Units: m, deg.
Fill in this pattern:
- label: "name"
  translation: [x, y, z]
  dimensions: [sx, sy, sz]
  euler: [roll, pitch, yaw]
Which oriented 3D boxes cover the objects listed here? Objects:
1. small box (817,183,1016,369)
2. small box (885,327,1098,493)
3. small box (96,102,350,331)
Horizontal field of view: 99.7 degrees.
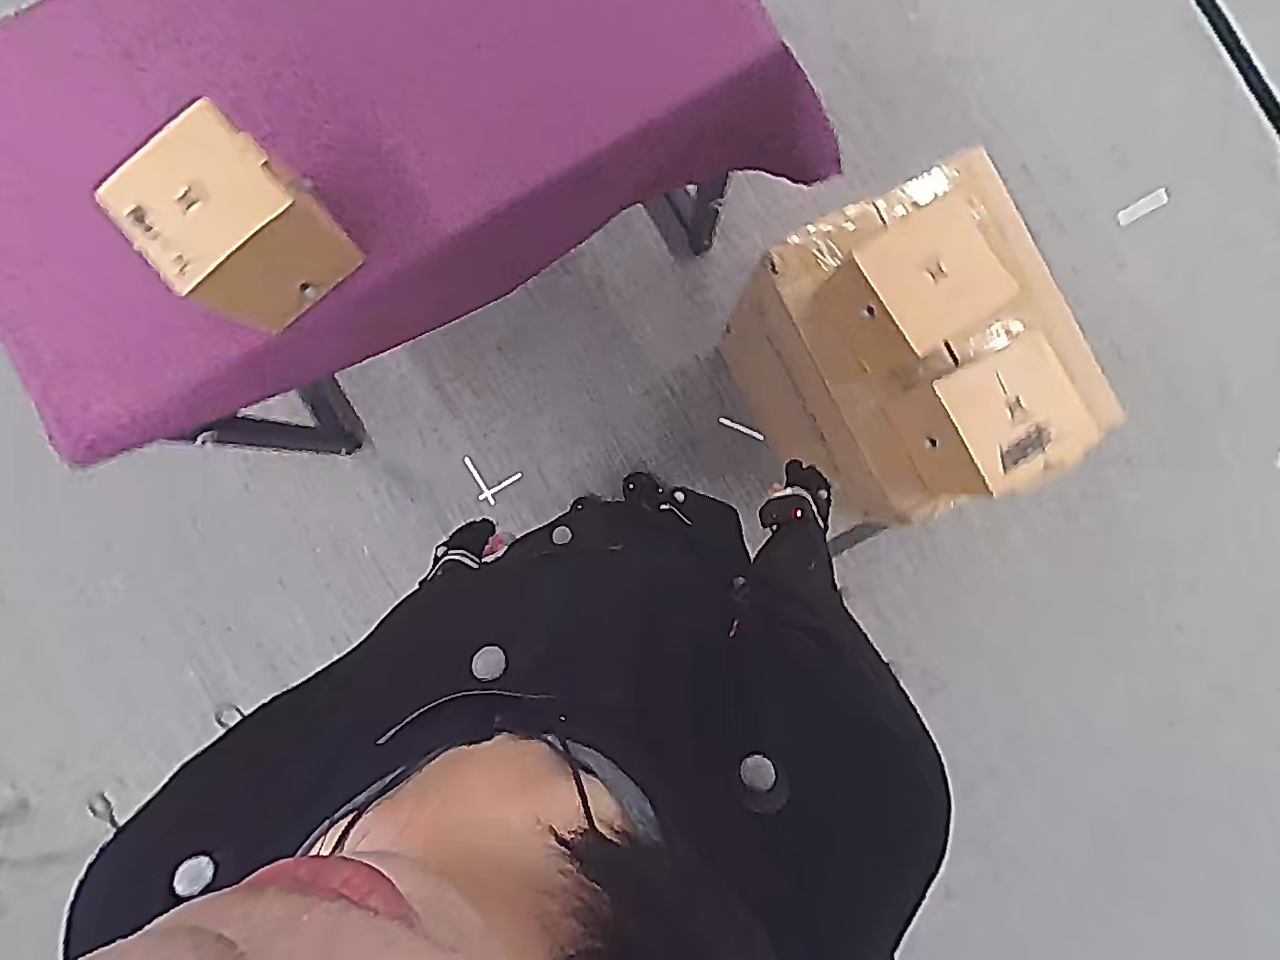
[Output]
- label: "small box"
  translation: [0.396, -0.290, 0.811]
  dimensions: [0.168, 0.176, 0.179]
  euler: [-34, 91, 2]
- label: "small box"
  translation: [0.506, -0.094, 0.807]
  dimensions: [0.168, 0.176, 0.179]
  euler: [-29, 87, 1]
- label: "small box"
  translation: [-0.522, -0.330, 0.714]
  dimensions: [0.179, 0.176, 0.168]
  euler: [-41, 89, -1]
